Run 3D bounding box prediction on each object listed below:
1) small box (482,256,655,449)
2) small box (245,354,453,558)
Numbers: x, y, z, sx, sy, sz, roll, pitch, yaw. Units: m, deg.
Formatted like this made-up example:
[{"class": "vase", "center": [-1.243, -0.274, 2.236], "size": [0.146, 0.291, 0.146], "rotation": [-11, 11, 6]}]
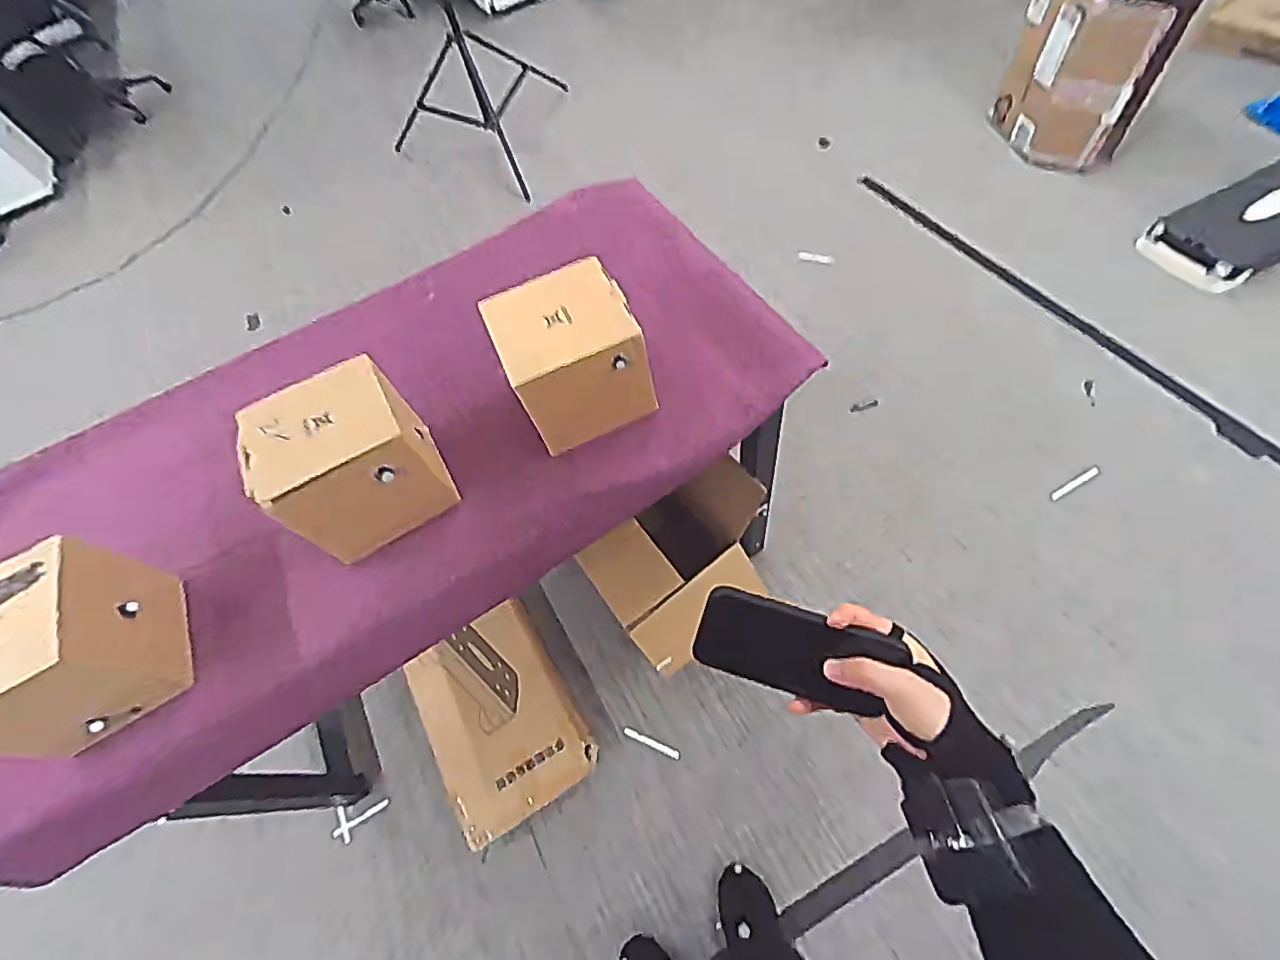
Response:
[{"class": "small box", "center": [-0.093, -0.171, 0.763], "size": [0.179, 0.176, 0.168], "rotation": [-25, 60, -5]}, {"class": "small box", "center": [-0.375, -0.027, 0.725], "size": [0.179, 0.176, 0.168], "rotation": [-31, 59, -9]}]
